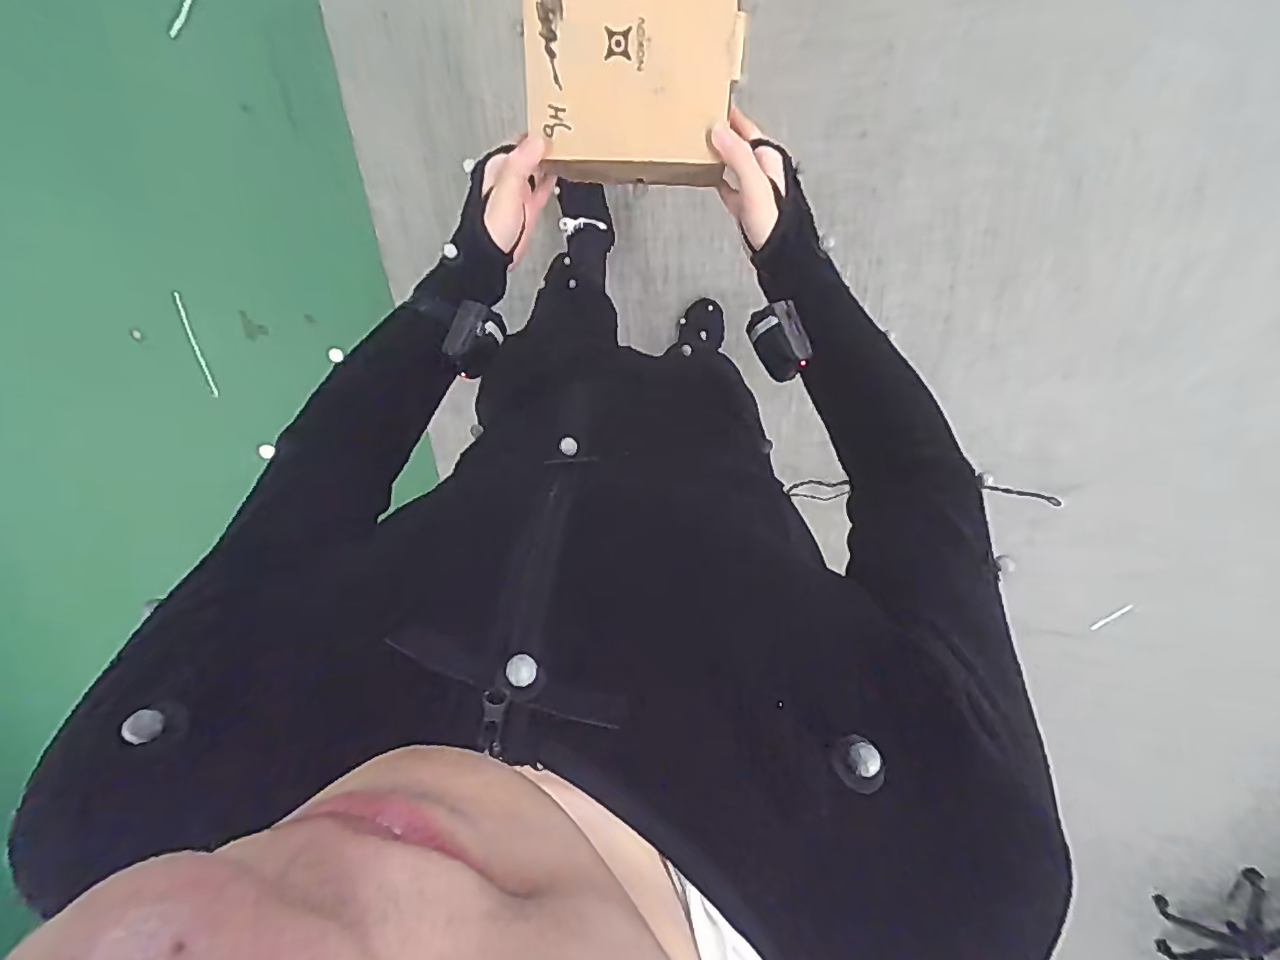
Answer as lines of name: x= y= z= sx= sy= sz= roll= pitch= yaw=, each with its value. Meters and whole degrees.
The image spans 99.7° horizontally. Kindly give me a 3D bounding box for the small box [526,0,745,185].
small box: x=-0.001 y=-0.383 z=0.509 sx=0.179 sy=0.176 sz=0.168 roll=4 pitch=112 yaw=3
